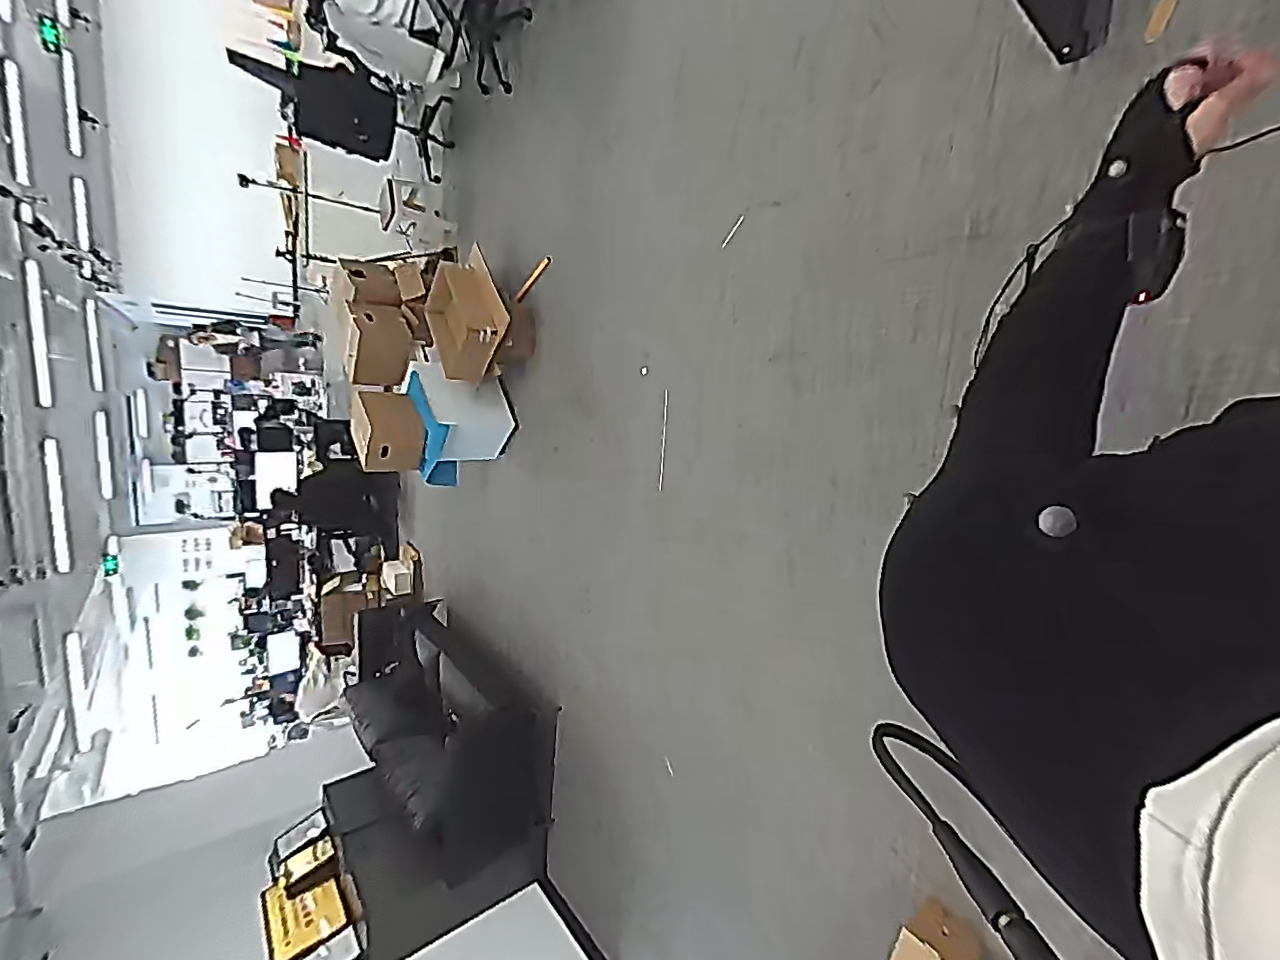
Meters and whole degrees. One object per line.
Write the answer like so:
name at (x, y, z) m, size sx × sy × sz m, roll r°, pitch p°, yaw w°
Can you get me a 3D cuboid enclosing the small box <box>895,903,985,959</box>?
small box at (0.863, 1.387, 1.560) m, size 0.168 × 0.176 × 0.179 m, roll 26°, pitch 111°, yaw 47°
